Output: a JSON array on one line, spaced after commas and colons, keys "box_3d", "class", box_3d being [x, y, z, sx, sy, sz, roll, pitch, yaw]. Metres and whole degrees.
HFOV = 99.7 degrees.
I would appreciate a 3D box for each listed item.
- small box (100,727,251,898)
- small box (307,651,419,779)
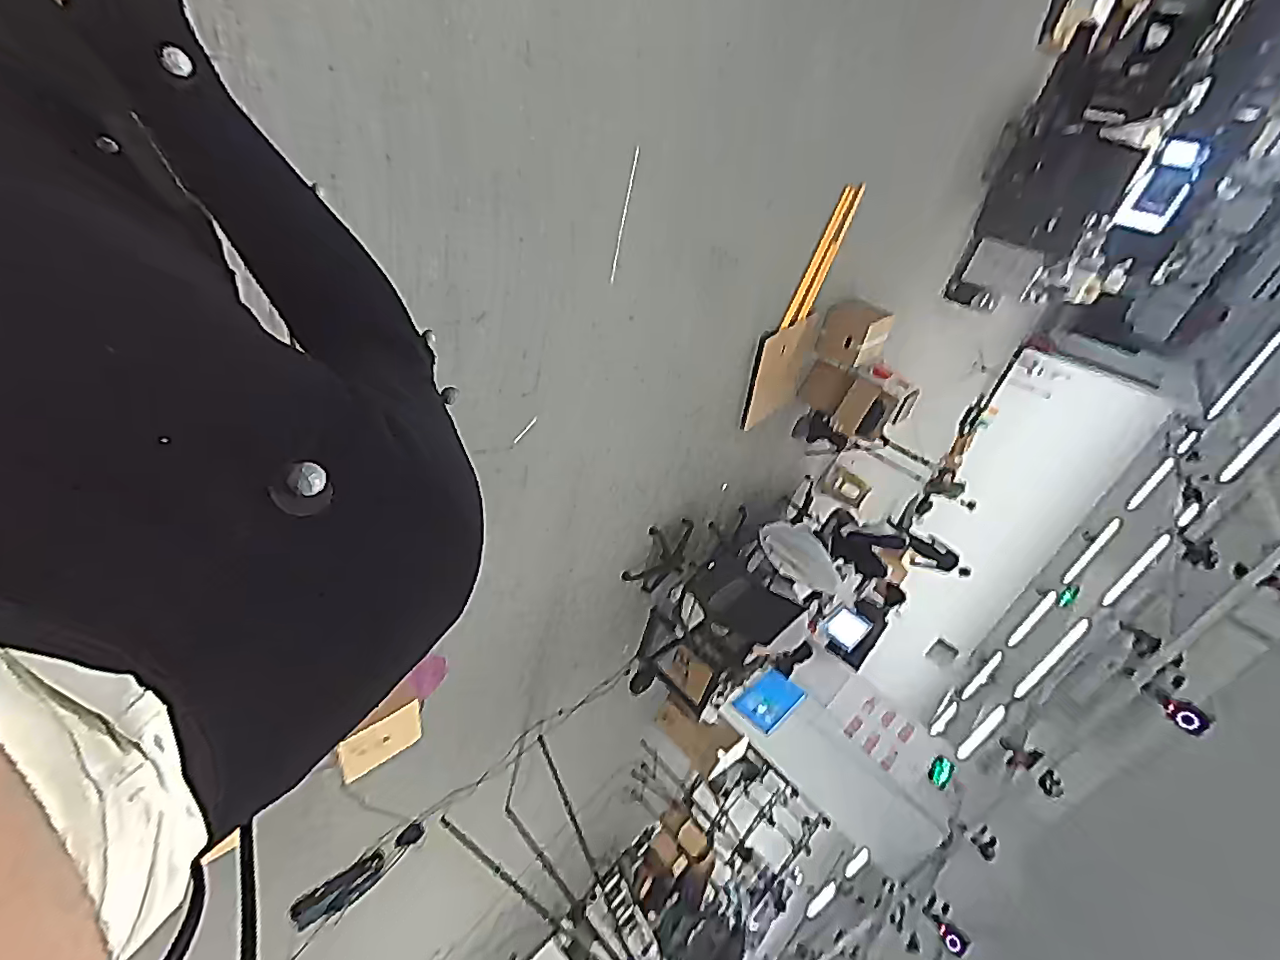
[{"box_3d": [-0.867, 0.611, 1.012, 0.179, 0.176, 0.168, -21, 138, -42], "class": "small box"}, {"box_3d": [-0.631, 0.529, 1.240, 0.179, 0.176, 0.168, -21, 137, -40], "class": "small box"}]
